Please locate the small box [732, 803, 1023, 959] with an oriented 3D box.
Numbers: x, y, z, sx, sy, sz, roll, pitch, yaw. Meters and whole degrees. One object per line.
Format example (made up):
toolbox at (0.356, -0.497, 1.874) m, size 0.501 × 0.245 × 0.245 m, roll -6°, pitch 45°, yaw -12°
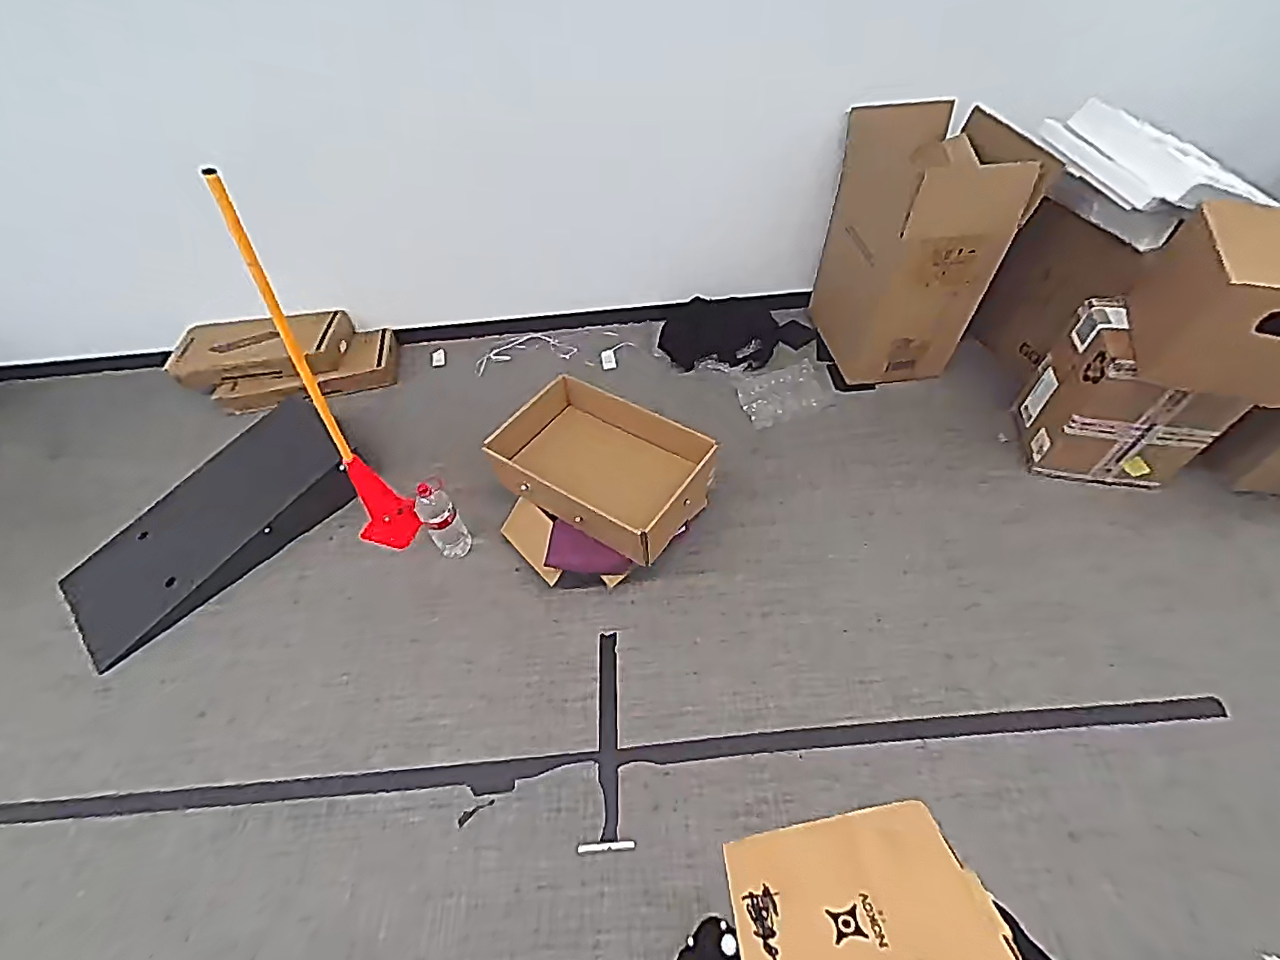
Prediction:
small box at (0.182, 0.394, 0.412) m, size 0.179 × 0.176 × 0.168 m, roll -14°, pitch 14°, yaw 3°
